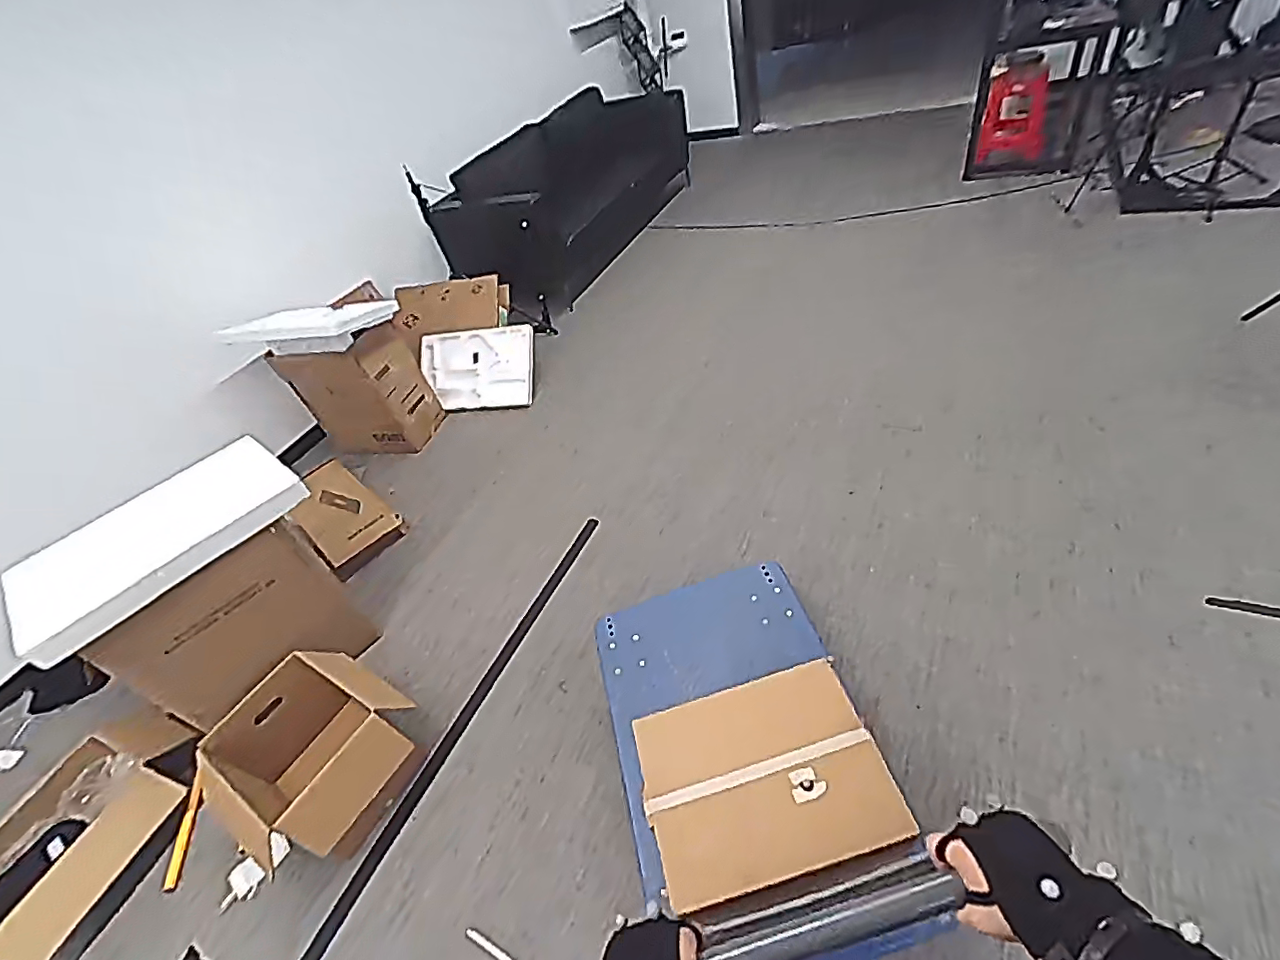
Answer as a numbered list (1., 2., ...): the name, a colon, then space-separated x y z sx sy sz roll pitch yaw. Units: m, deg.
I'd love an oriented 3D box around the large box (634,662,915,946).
1. large box: 0.238 0.621 1.042 0.408 0.320 0.320 -17 43 -2
